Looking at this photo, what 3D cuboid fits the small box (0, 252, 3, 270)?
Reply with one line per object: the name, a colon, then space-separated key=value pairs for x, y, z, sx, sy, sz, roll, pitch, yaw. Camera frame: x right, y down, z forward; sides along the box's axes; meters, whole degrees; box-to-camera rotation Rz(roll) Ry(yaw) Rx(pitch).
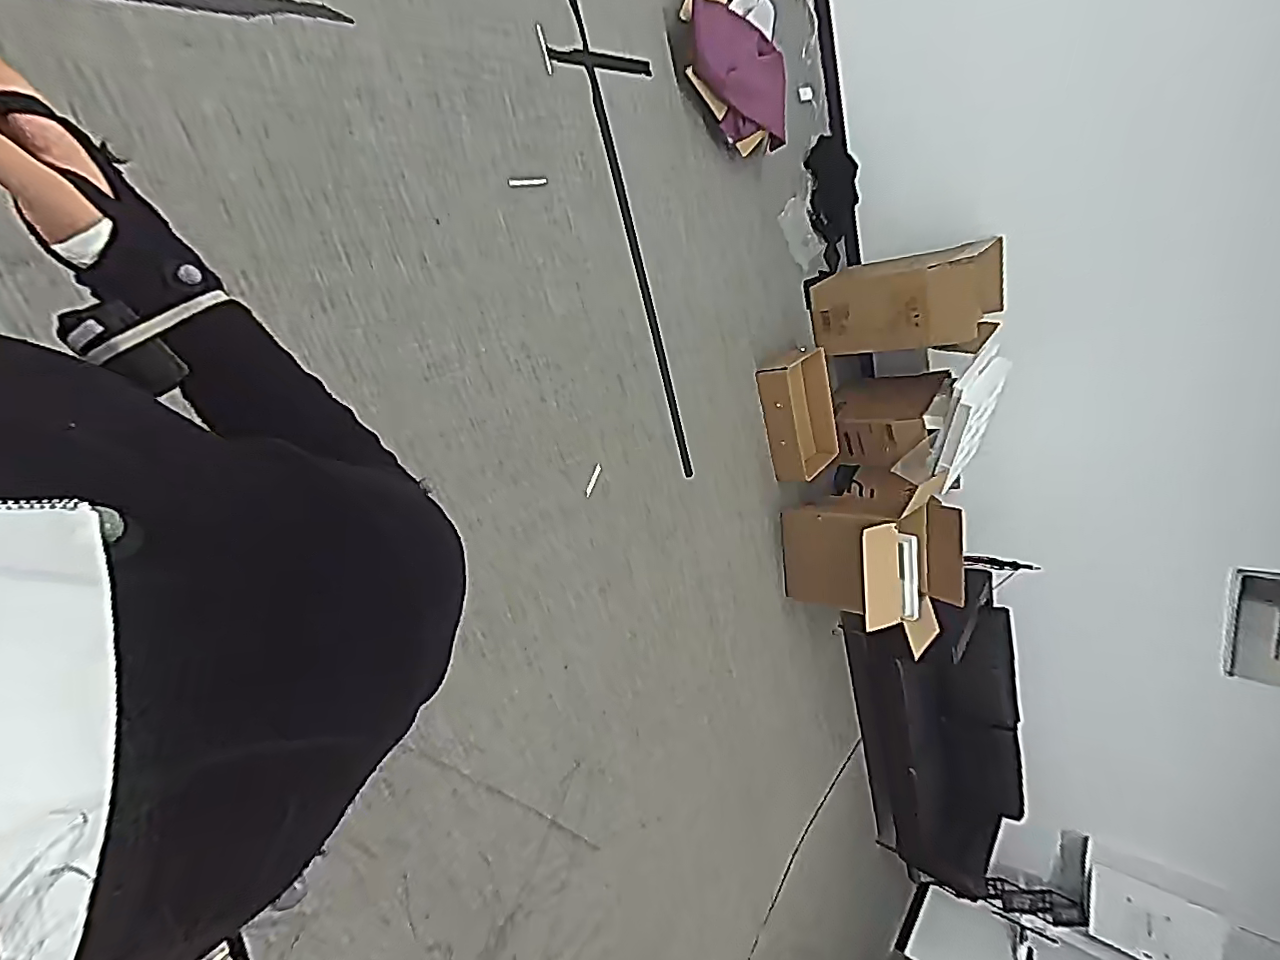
small box: x=-0.491 y=-0.212 z=0.283 sx=0.168 sy=0.176 sz=0.179 roll=-20 pitch=108 yaw=-42
